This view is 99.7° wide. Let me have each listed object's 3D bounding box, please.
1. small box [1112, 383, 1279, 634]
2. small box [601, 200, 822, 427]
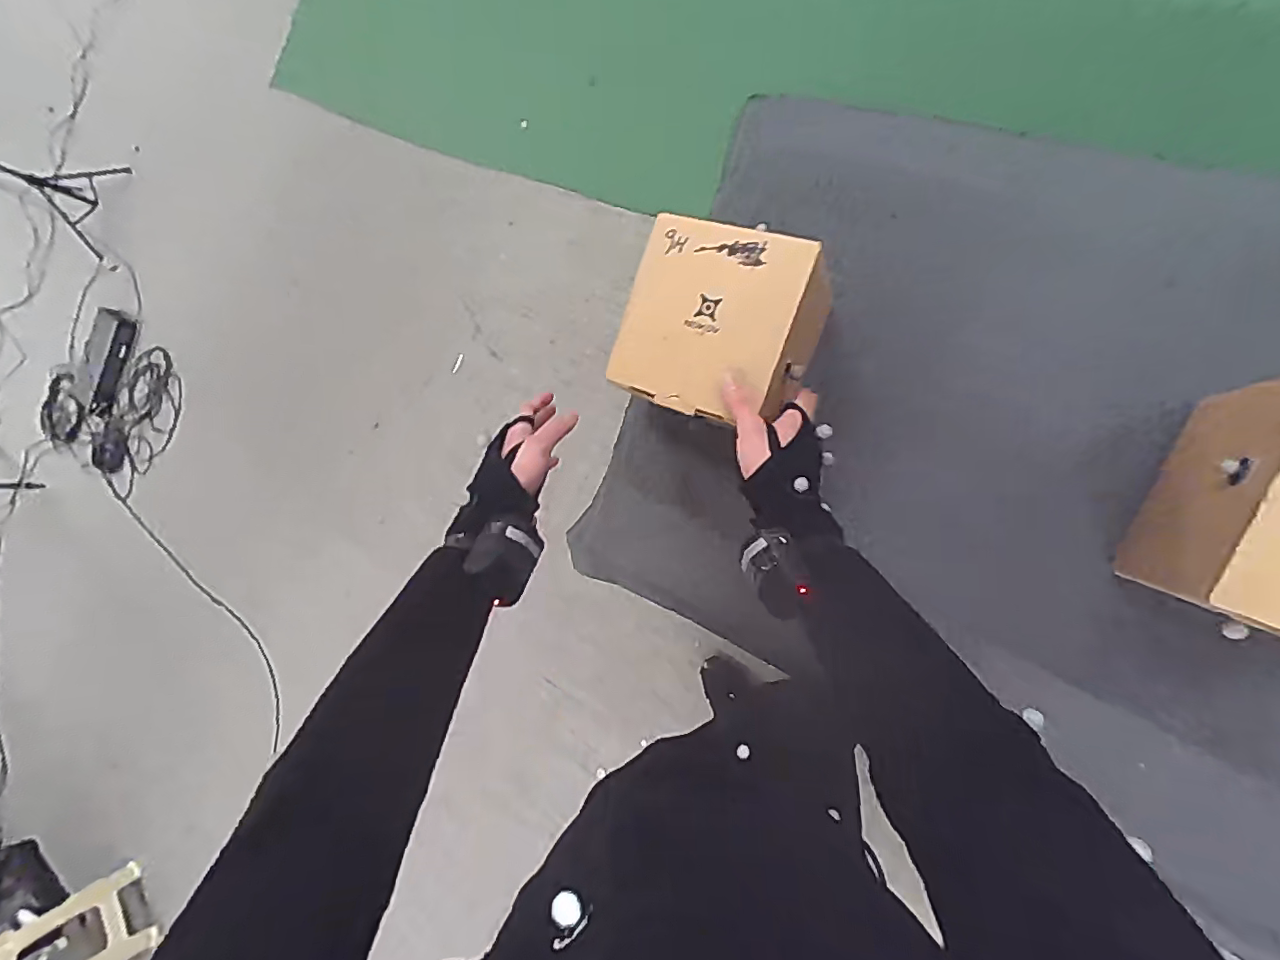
[{"bbox_3d":[0.510,0.030,0.404,0.168,0.176,0.179,25,100,21],"label":"small box"},{"bbox_3d":[0.087,-0.165,0.584,0.168,0.176,0.179,22,99,21],"label":"small box"}]
